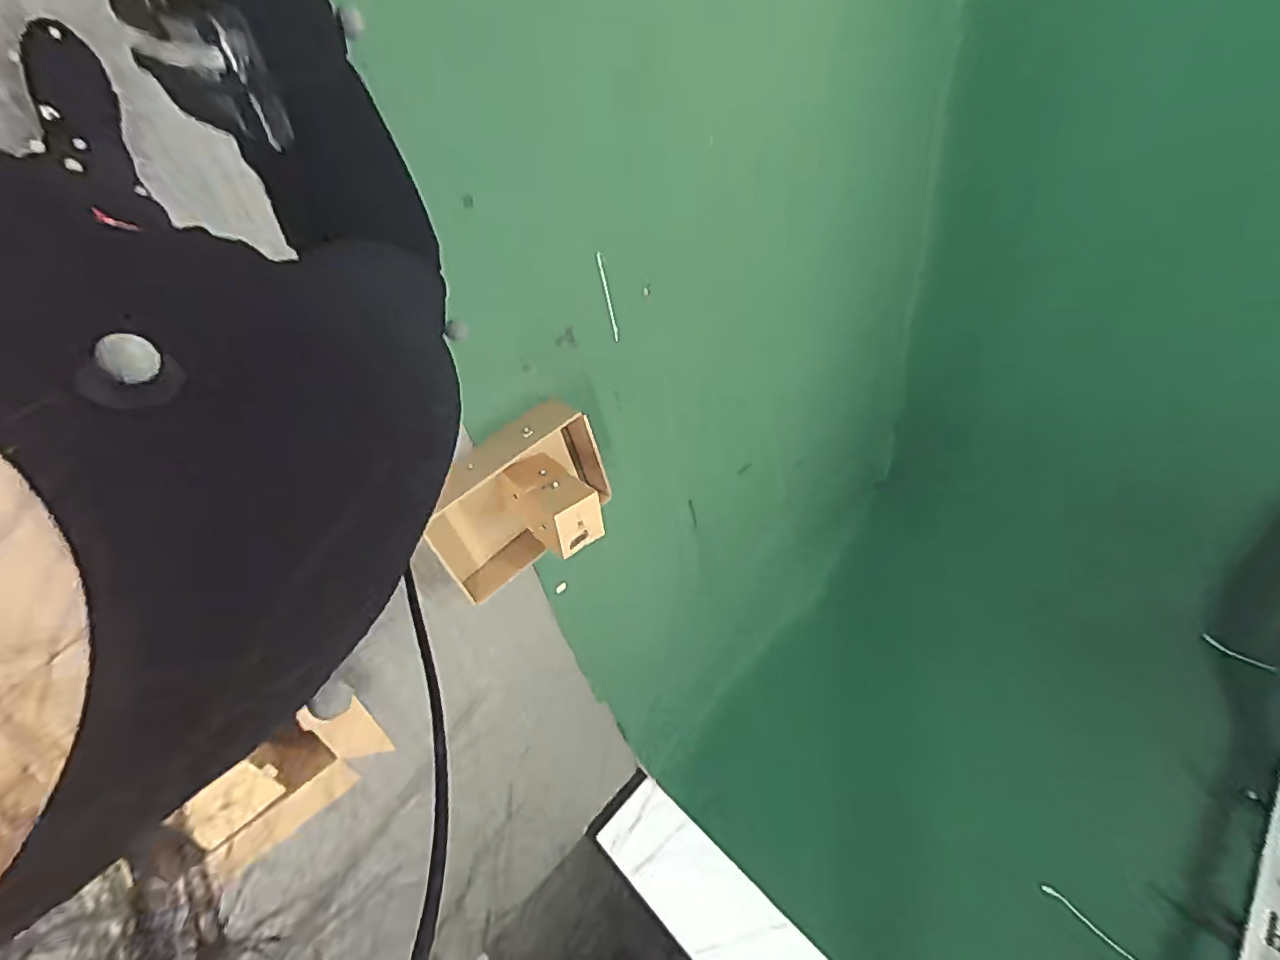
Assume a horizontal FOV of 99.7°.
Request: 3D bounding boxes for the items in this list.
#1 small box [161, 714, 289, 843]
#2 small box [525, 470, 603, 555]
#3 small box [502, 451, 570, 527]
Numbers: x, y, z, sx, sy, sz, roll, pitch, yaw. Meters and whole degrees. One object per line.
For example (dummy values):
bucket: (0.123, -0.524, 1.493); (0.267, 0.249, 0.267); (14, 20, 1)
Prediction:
small box: (-0.987, 0.699, 1.284); (0.179, 0.176, 0.168); (-36, 133, -27)
small box: (-0.240, 0.098, 1.703); (0.168, 0.176, 0.179); (-31, 132, -31)
small box: (-0.346, 0.025, 1.807); (0.179, 0.176, 0.168); (-28, 132, -33)
